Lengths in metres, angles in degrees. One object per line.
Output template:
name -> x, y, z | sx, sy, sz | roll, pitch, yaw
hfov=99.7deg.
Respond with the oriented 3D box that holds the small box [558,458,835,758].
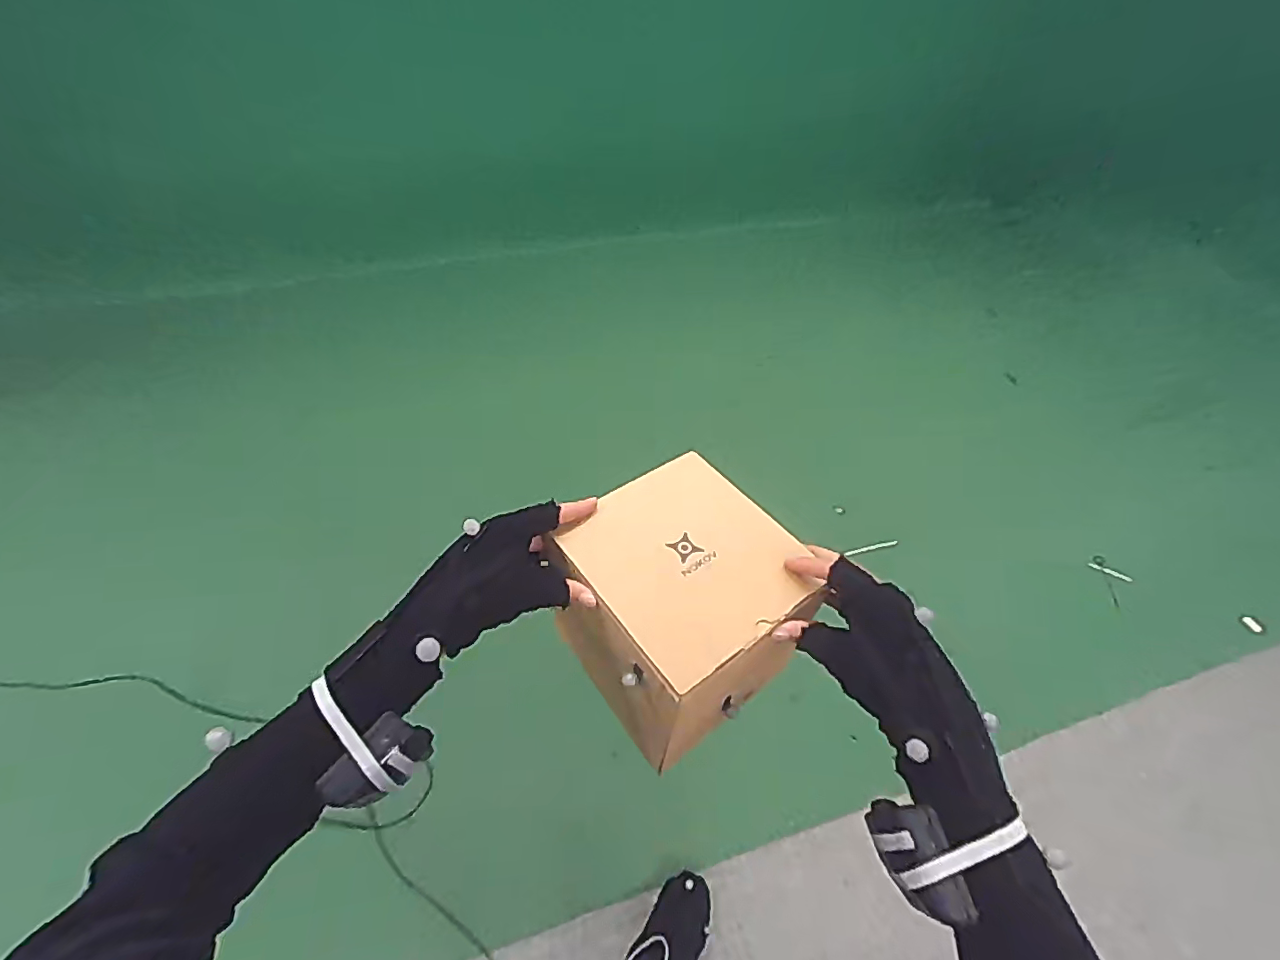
small box -> 0.037, 0.116, 0.502 | 0.168, 0.176, 0.179 | -27, 55, -28
